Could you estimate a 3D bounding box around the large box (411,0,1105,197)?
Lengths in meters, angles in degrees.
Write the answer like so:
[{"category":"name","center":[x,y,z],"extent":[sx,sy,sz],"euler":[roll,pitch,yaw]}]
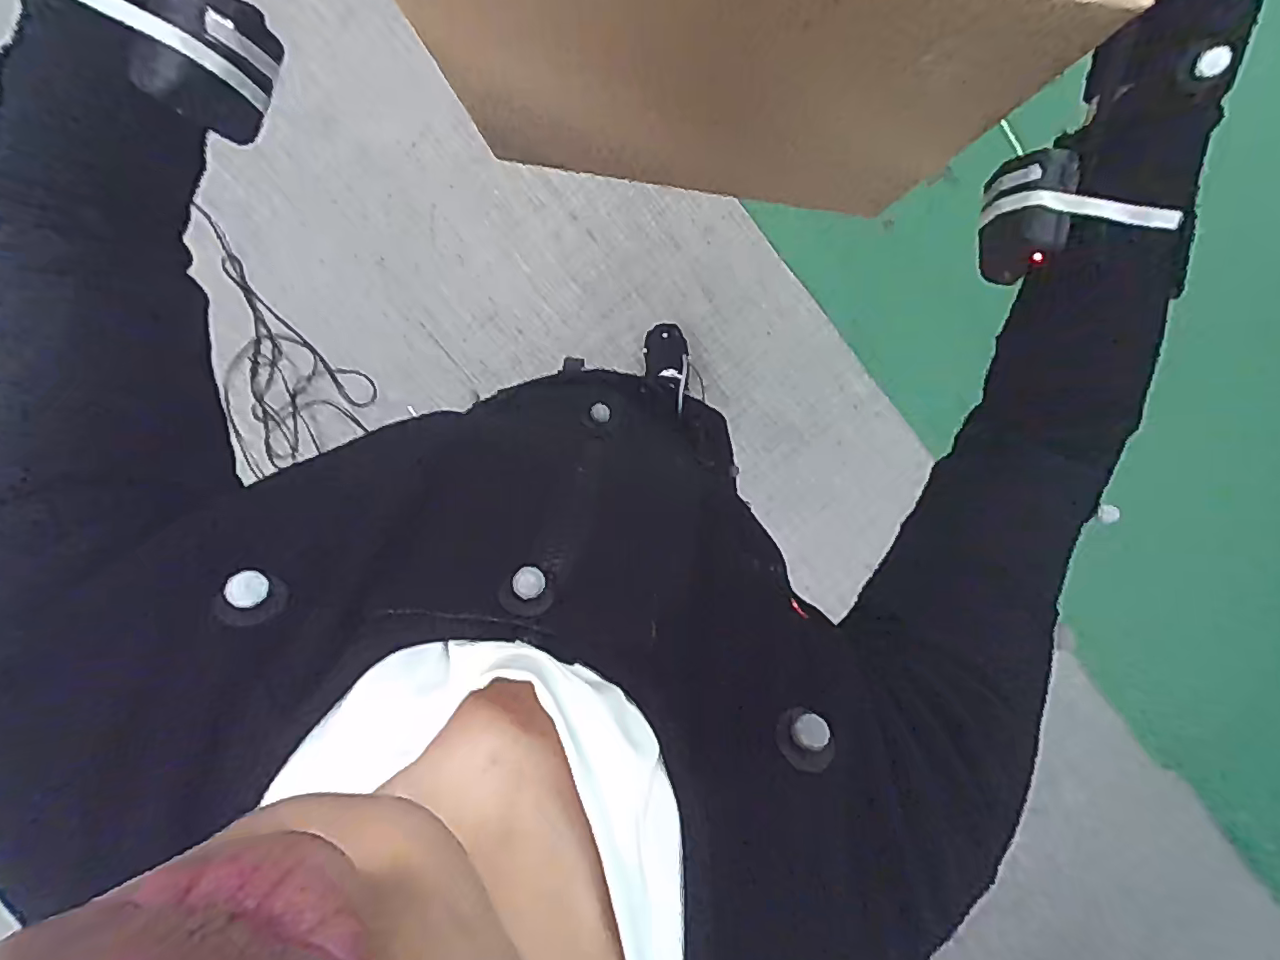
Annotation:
[{"category":"large box","center":[0.064,-0.439,0.391],"extent":[0.408,0.320,0.320],"euler":[7,100,-1]}]
